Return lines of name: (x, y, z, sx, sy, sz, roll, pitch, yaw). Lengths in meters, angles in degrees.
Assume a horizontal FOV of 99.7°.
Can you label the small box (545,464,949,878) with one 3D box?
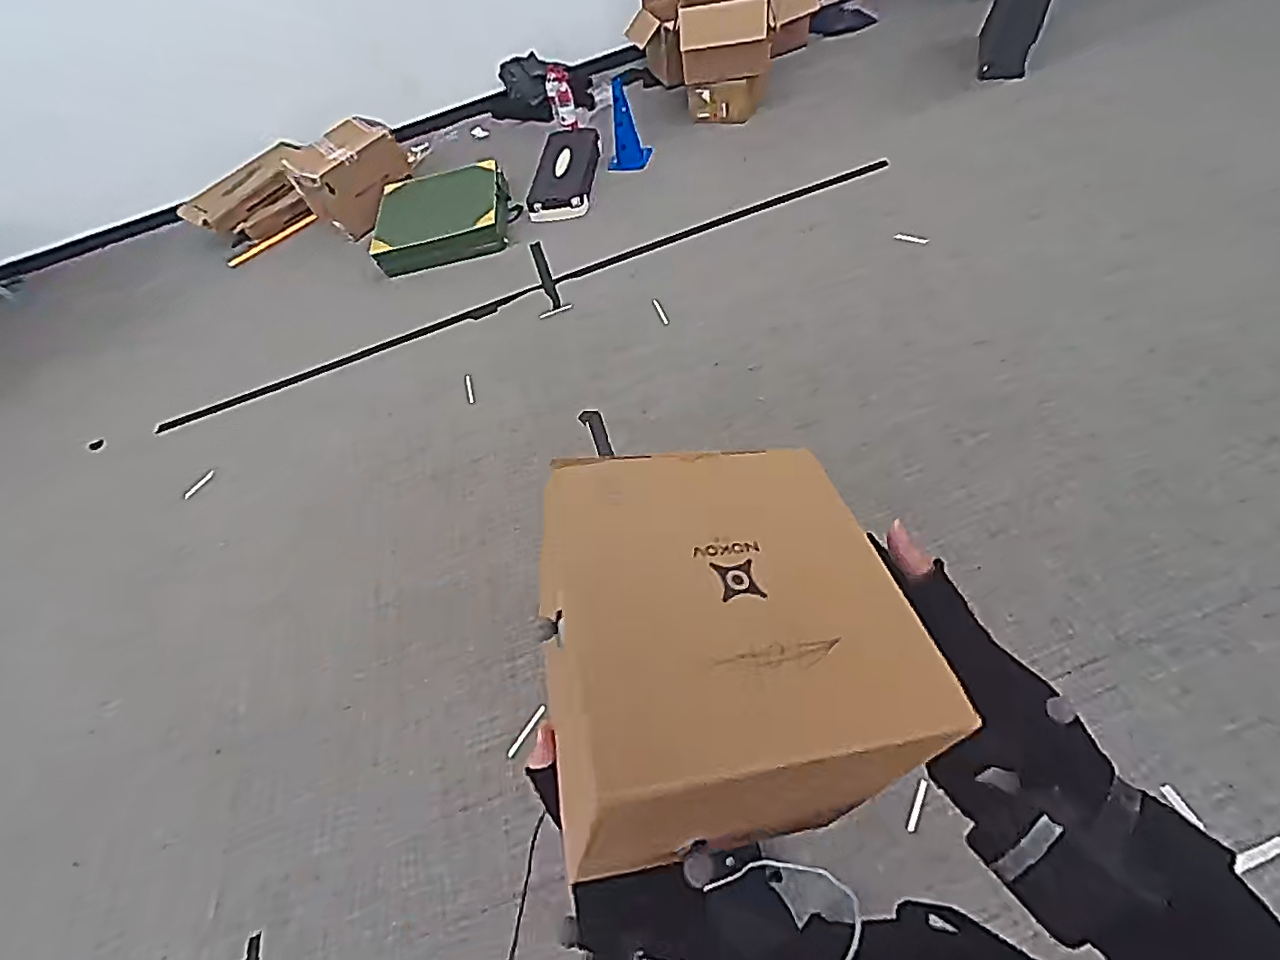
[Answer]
small box: (0.032, 0.110, 0.335, 0.168, 0.176, 0.179, -3, 46, -15)
